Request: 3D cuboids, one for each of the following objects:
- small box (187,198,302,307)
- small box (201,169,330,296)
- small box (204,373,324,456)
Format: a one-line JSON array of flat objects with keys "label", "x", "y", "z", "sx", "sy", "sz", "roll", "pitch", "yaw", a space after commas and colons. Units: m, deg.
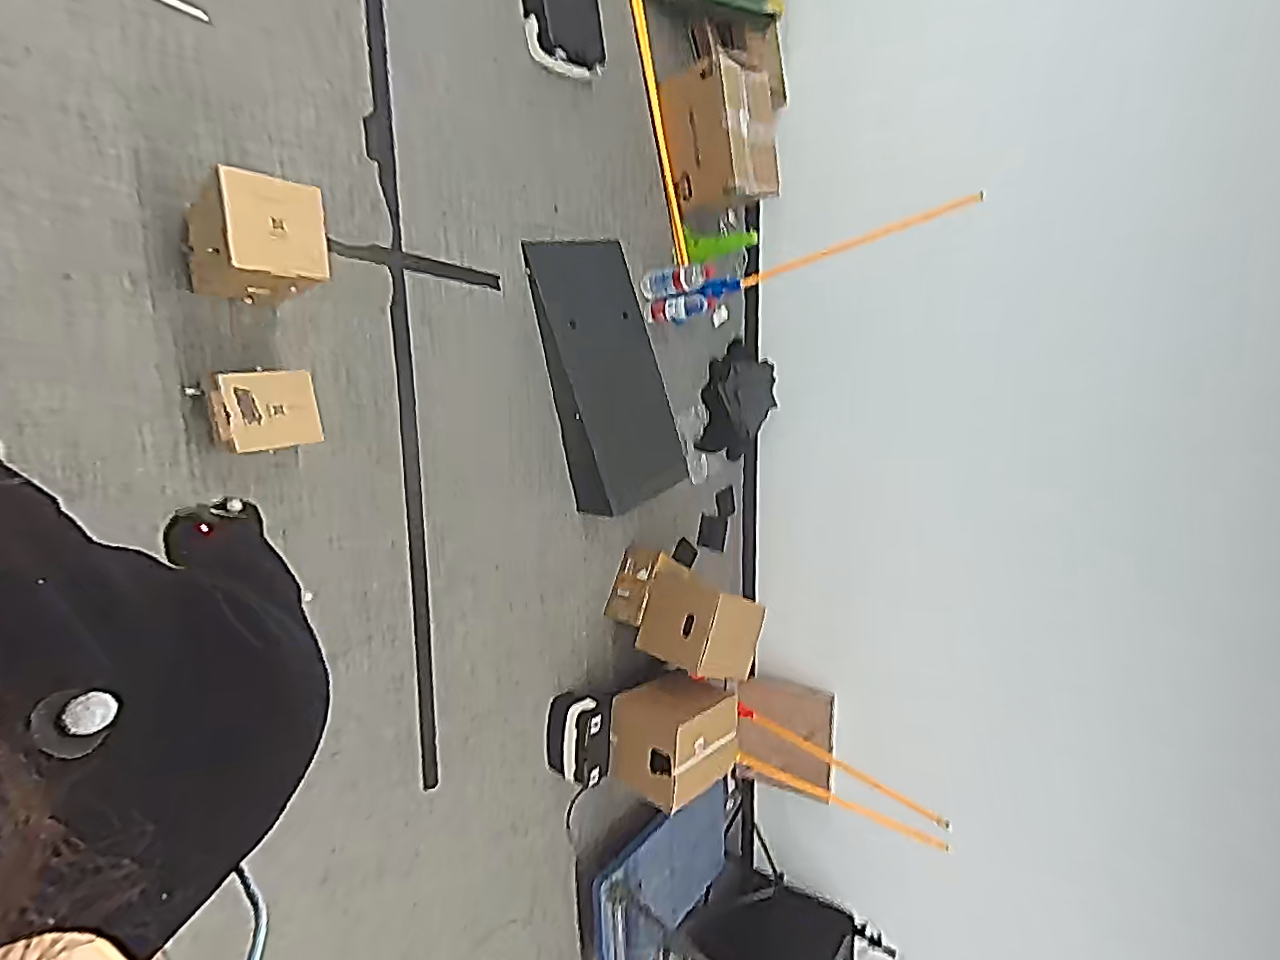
[{"label": "small box", "x": -0.854, "y": -0.480, "z": 1.169, "sx": 0.168, "sy": 0.176, "sz": 0.179, "roll": -8, "pitch": 101, "yaw": -49}, {"label": "small box", "x": -0.732, "y": -0.469, "z": 1.060, "sx": 0.168, "sy": 0.176, "sz": 0.179, "roll": -11, "pitch": 102, "yaw": -49}, {"label": "small box", "x": -0.848, "y": -0.148, "z": 1.215, "sx": 0.179, "sy": 0.176, "sz": 0.168, "roll": -18, "pitch": 108, "yaw": -48}]
